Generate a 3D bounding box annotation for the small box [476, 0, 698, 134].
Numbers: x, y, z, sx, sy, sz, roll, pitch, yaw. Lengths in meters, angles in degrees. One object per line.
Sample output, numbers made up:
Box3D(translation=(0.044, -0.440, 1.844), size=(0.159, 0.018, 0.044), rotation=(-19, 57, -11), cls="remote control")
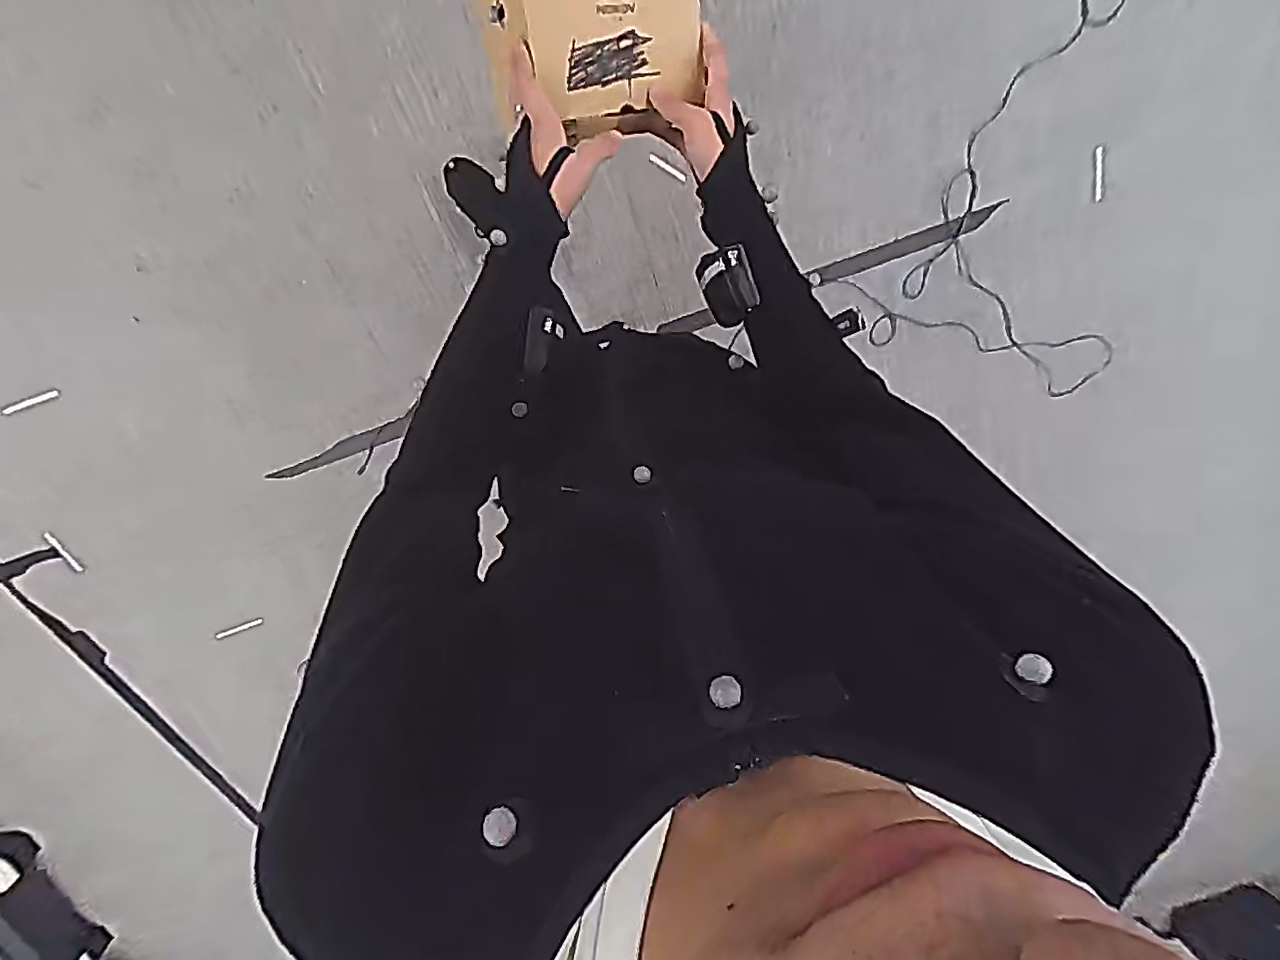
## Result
Box3D(translation=(-0.058, -0.449, 0.525), size=(0.168, 0.176, 0.179), rotation=(-18, 120, -17), cls="small box")
